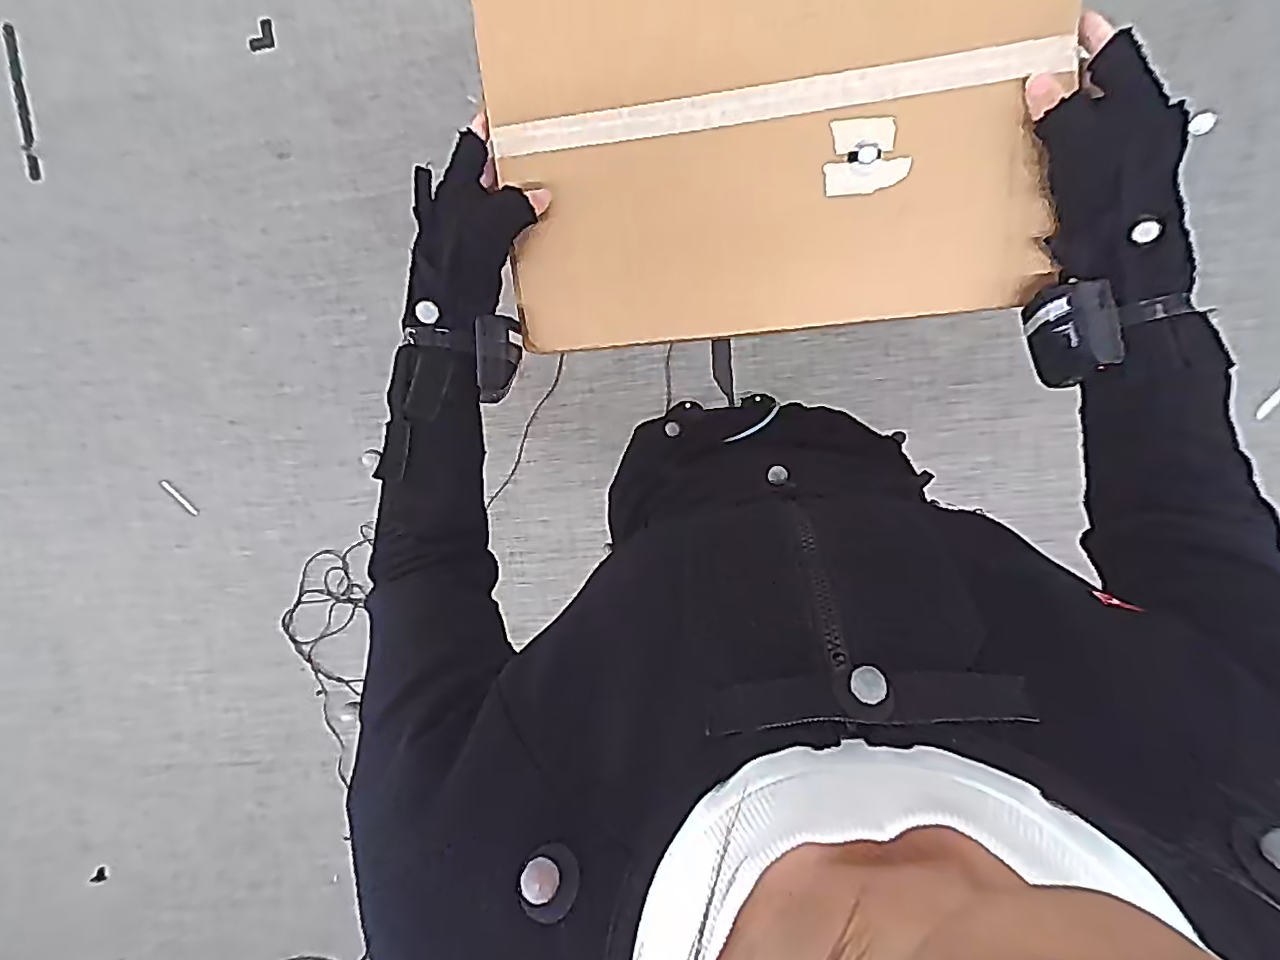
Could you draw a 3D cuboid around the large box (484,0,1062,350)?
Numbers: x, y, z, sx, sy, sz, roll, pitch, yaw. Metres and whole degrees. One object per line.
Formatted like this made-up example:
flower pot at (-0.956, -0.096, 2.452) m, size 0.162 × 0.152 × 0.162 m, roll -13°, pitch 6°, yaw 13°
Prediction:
large box at (0.105, -0.311, 0.541) m, size 0.408 × 0.320 × 0.320 m, roll -4°, pitch 105°, yaw 7°
